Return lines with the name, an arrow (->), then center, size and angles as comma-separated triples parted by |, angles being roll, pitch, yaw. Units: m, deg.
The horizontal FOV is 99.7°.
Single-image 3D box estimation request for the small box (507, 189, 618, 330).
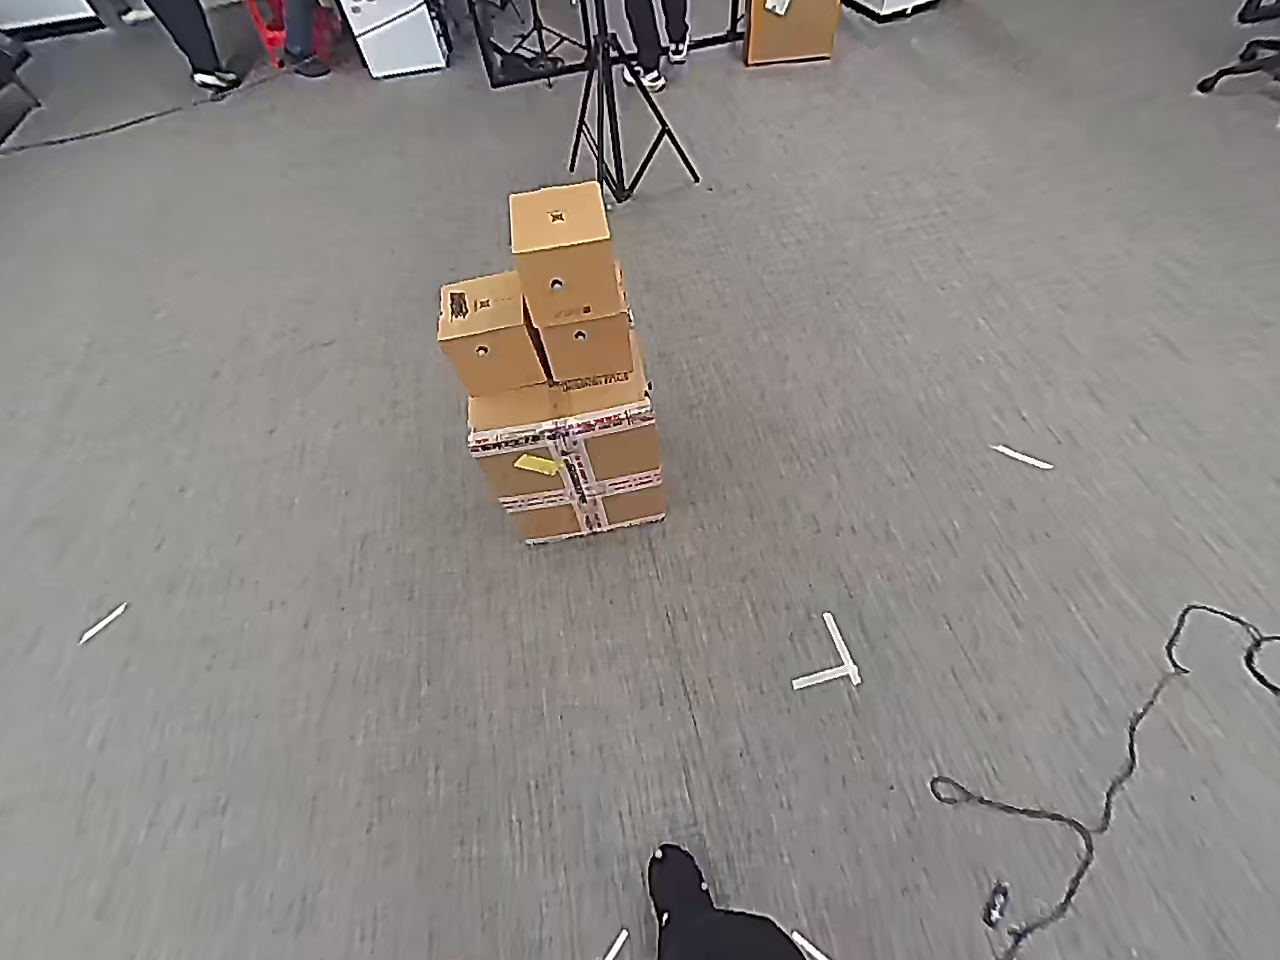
small box -> -0.139, -0.397, 0.998 | 0.168, 0.176, 0.179 | -11, 58, -2
